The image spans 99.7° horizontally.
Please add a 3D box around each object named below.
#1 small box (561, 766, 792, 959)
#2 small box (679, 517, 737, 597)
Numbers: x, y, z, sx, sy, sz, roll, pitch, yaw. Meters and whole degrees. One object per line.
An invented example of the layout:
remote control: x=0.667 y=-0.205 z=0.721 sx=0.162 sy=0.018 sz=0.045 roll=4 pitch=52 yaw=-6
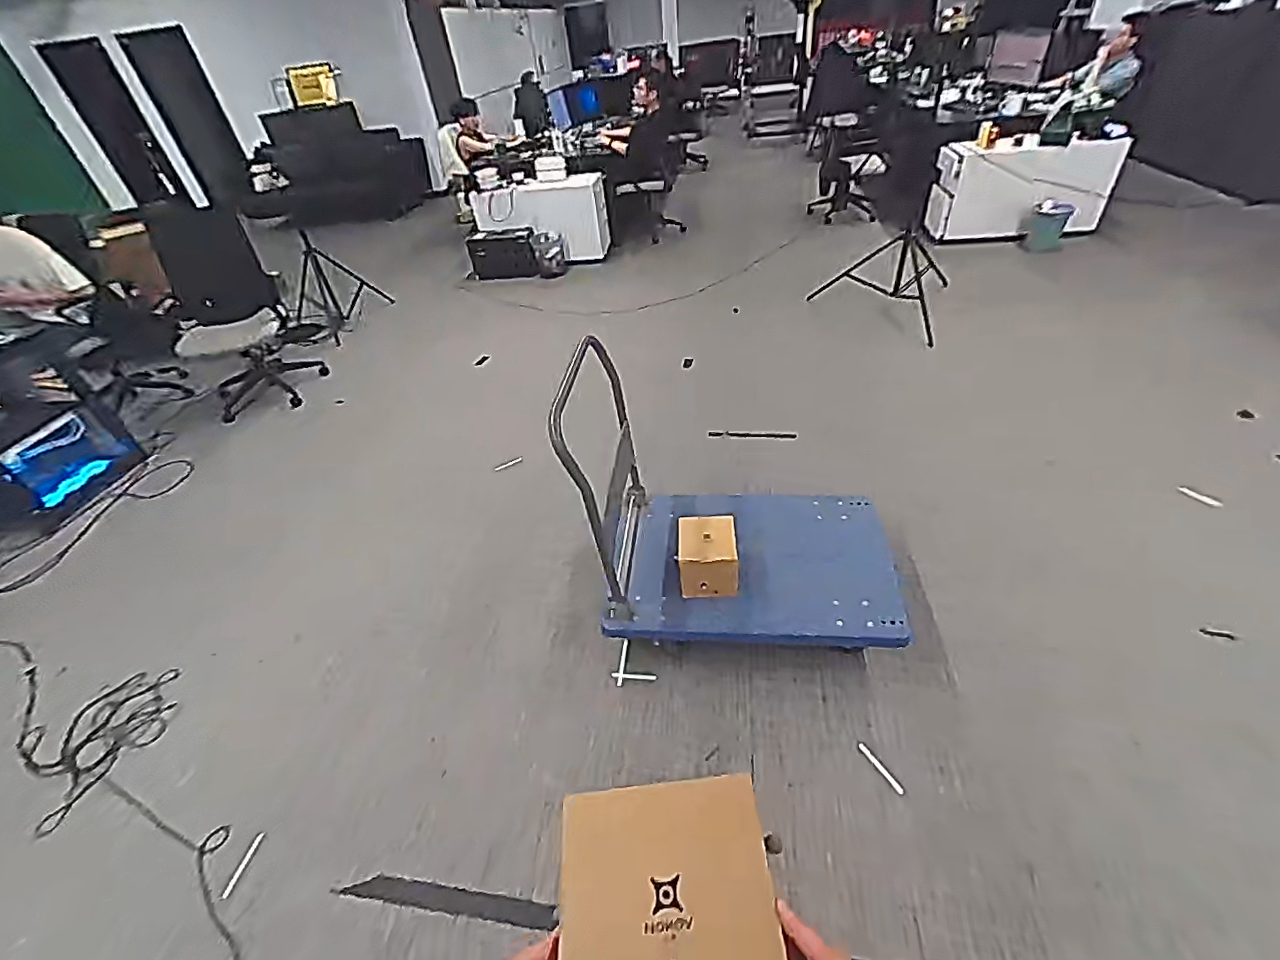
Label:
small box: x=0.034 y=0.372 z=0.458 sx=0.168 sy=0.176 sz=0.179 roll=-9 pitch=42 yaw=4
small box: x=0.202 y=0.232 z=1.630 sx=0.168 sy=0.176 sz=0.179 roll=-3 pitch=41 yaw=6
